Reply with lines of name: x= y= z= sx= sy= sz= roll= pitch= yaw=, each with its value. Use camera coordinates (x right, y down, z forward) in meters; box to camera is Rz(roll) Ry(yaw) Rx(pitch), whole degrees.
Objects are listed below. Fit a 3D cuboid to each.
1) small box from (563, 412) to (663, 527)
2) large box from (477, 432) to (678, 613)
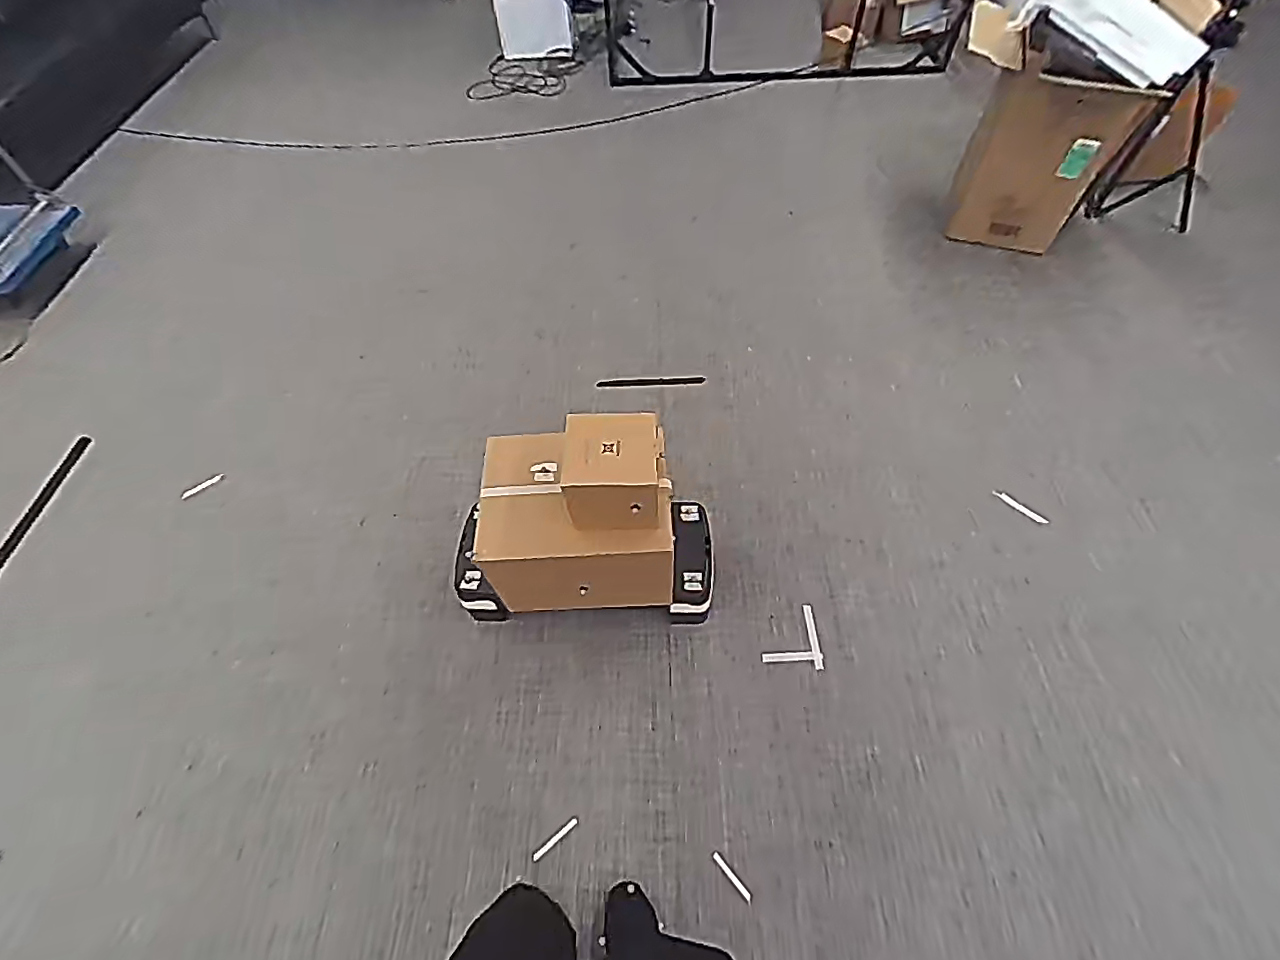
small box: x=-0.043 y=-0.016 z=1.055 sx=0.179 sy=0.176 sz=0.168 roll=0 pitch=57 yaw=3
large box: x=-0.125 y=0.108 z=1.271 sx=0.408 sy=0.320 sz=0.320 roll=-4 pitch=56 yaw=1
